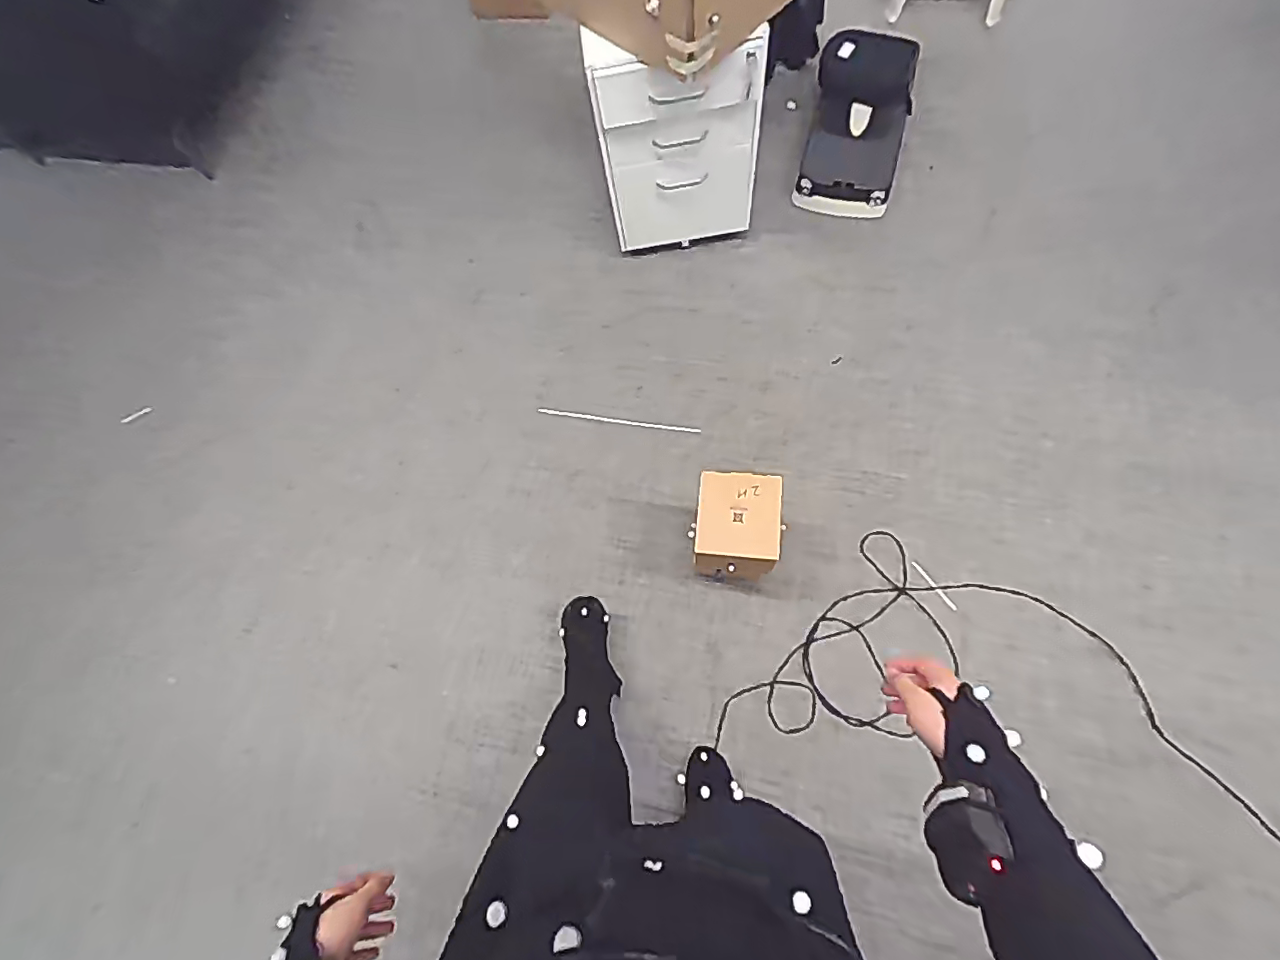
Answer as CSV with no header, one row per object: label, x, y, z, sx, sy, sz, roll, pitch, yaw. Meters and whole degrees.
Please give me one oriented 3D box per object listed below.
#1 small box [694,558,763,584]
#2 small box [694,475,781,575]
small box,0.225,0.151,1.319,0.168,0.176,0.179,5,71,9
small box,0.208,0.103,1.161,0.168,0.176,0.179,4,70,8
